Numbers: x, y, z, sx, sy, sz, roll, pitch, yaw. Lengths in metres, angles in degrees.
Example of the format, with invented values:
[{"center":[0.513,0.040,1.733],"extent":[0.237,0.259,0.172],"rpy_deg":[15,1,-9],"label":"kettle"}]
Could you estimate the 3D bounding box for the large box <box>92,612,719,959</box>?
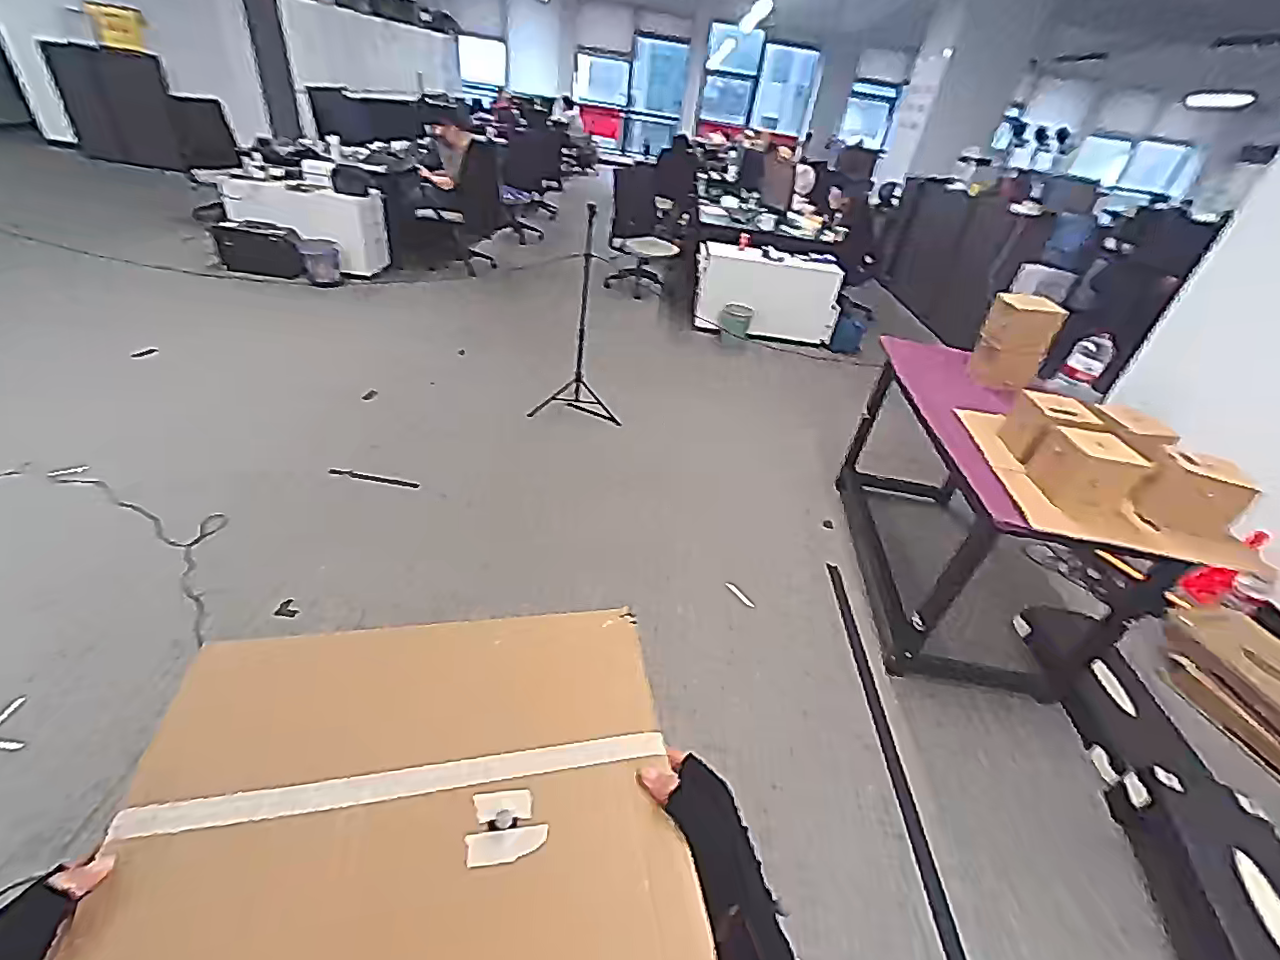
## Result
[{"center":[-0.185,0.363,0.533],"extent":[0.408,0.320,0.320],"rpy_deg":[0,38,-13],"label":"large box"}]
